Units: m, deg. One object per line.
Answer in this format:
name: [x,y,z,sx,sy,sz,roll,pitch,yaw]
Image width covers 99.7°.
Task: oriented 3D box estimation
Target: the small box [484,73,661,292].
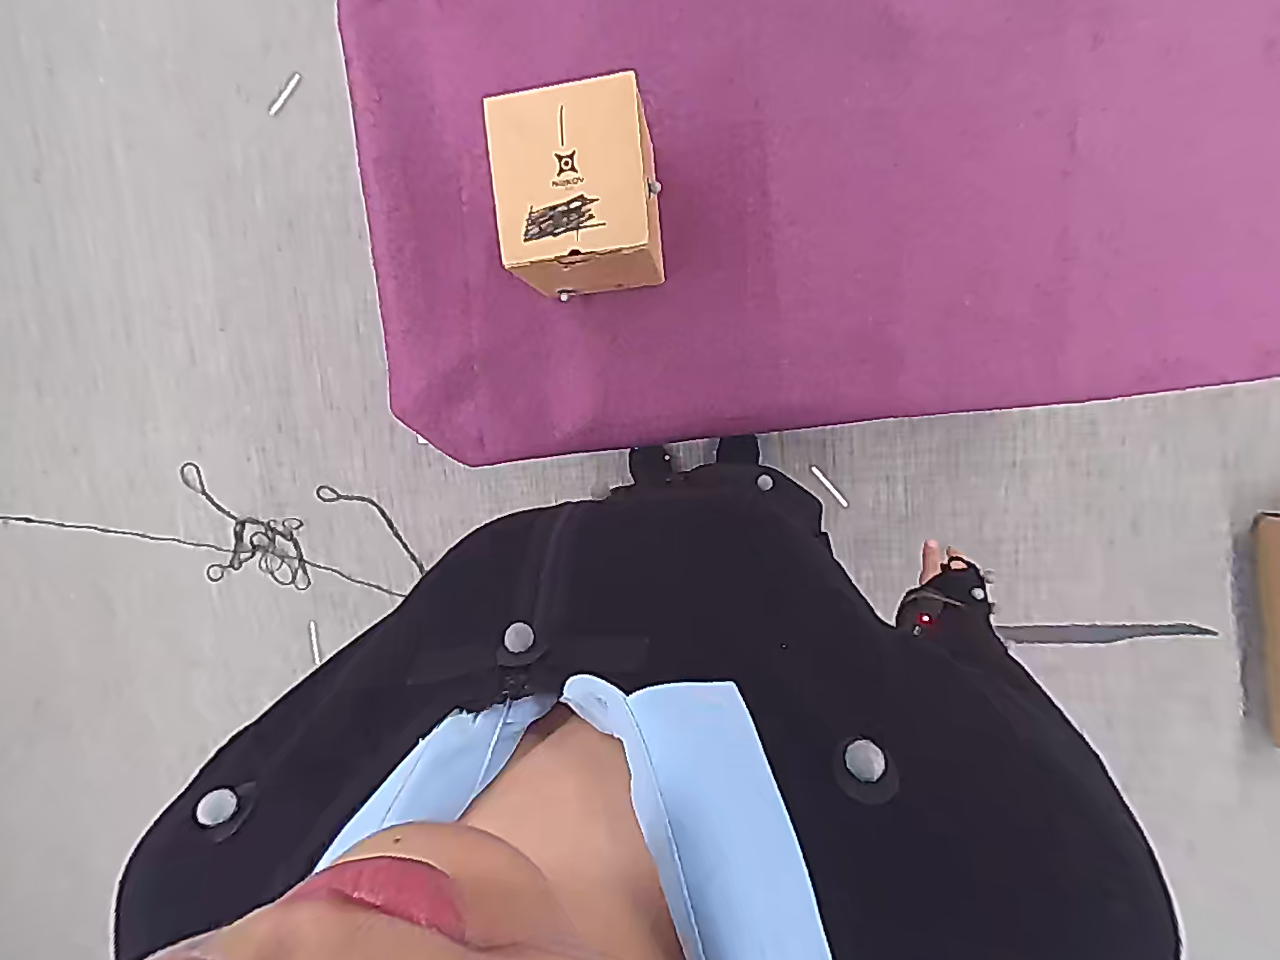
small box: [-0.068,-0.334,0.650,0.168,0.176,0.179,-4,96,8]
